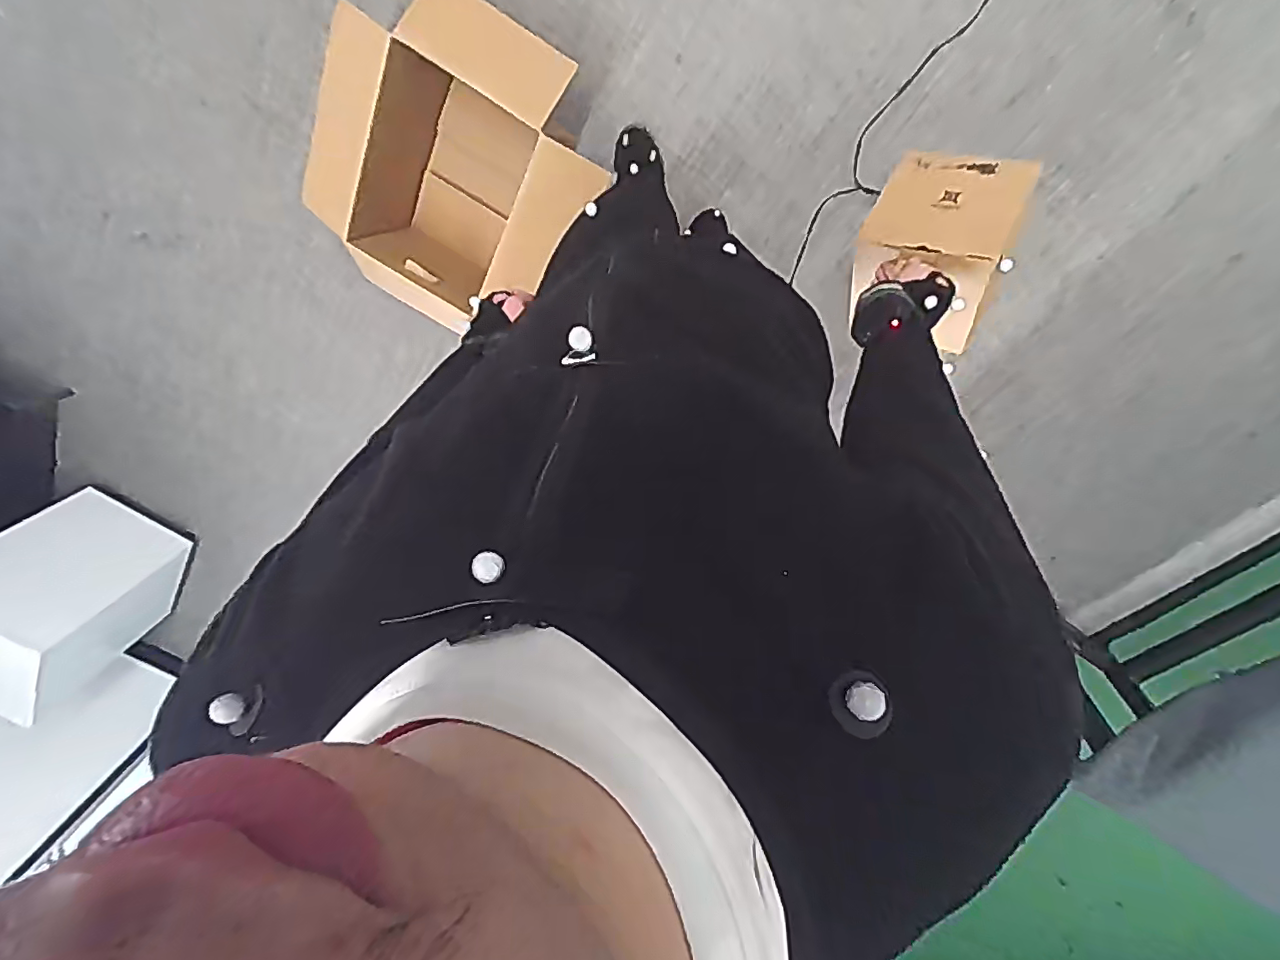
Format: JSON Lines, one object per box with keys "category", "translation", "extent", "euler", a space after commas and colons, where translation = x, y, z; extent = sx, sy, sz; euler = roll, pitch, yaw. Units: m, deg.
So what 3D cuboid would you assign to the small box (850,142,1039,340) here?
{"category": "small box", "translation": [0.405, -0.324, 0.748], "extent": [0.168, 0.179, 0.176], "euler": [25, 166, 26]}
